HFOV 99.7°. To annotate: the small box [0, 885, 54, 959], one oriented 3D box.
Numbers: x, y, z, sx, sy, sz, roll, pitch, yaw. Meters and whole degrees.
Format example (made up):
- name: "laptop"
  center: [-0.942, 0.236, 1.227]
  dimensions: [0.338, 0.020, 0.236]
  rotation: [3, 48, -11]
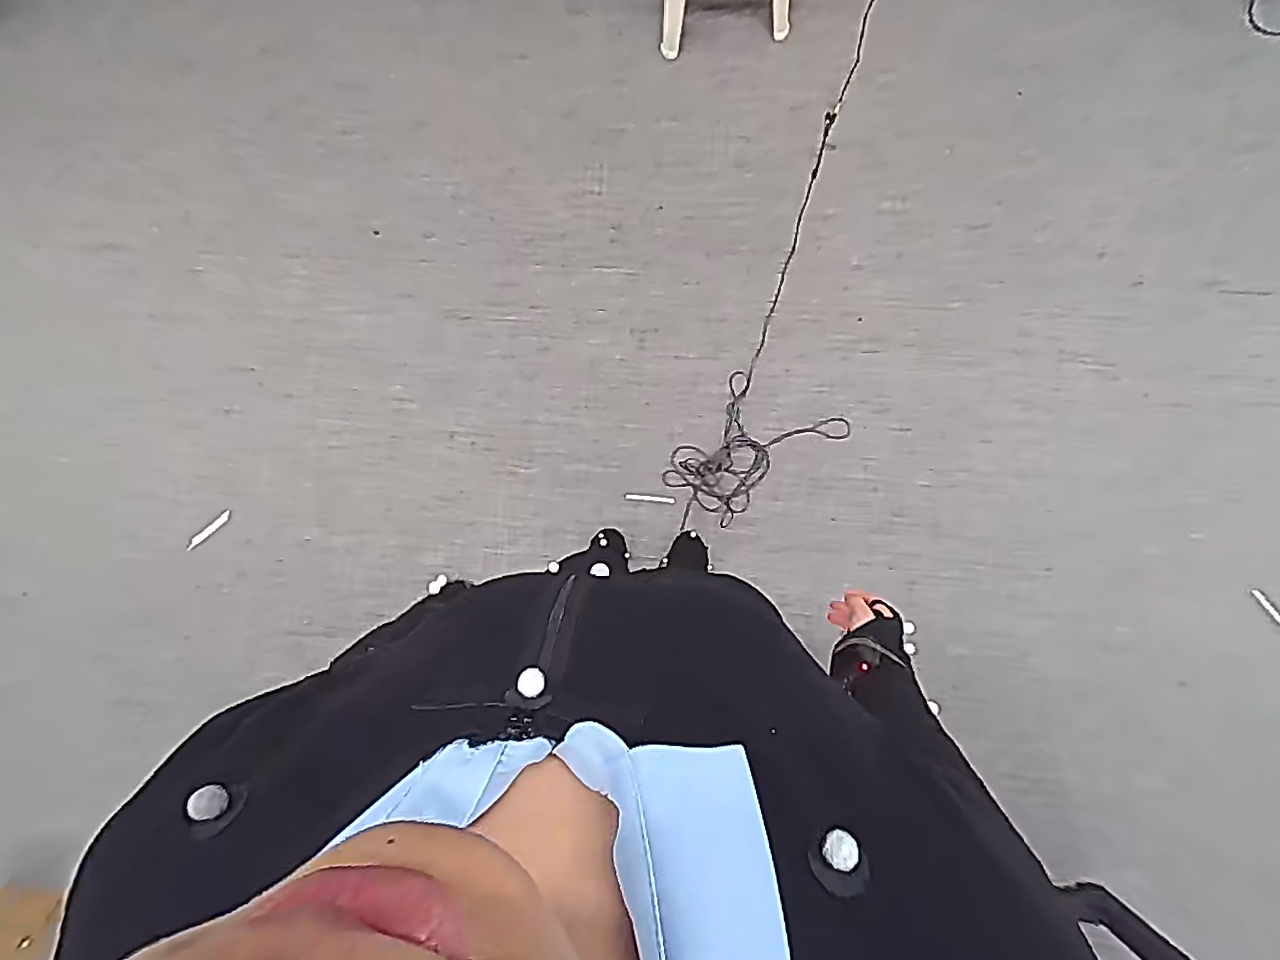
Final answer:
- name: "small box"
  center: [-1.738, 1.221, 1.440]
  dimensions: [0.179, 0.176, 0.168]
  rotation: [2, 84, 5]
